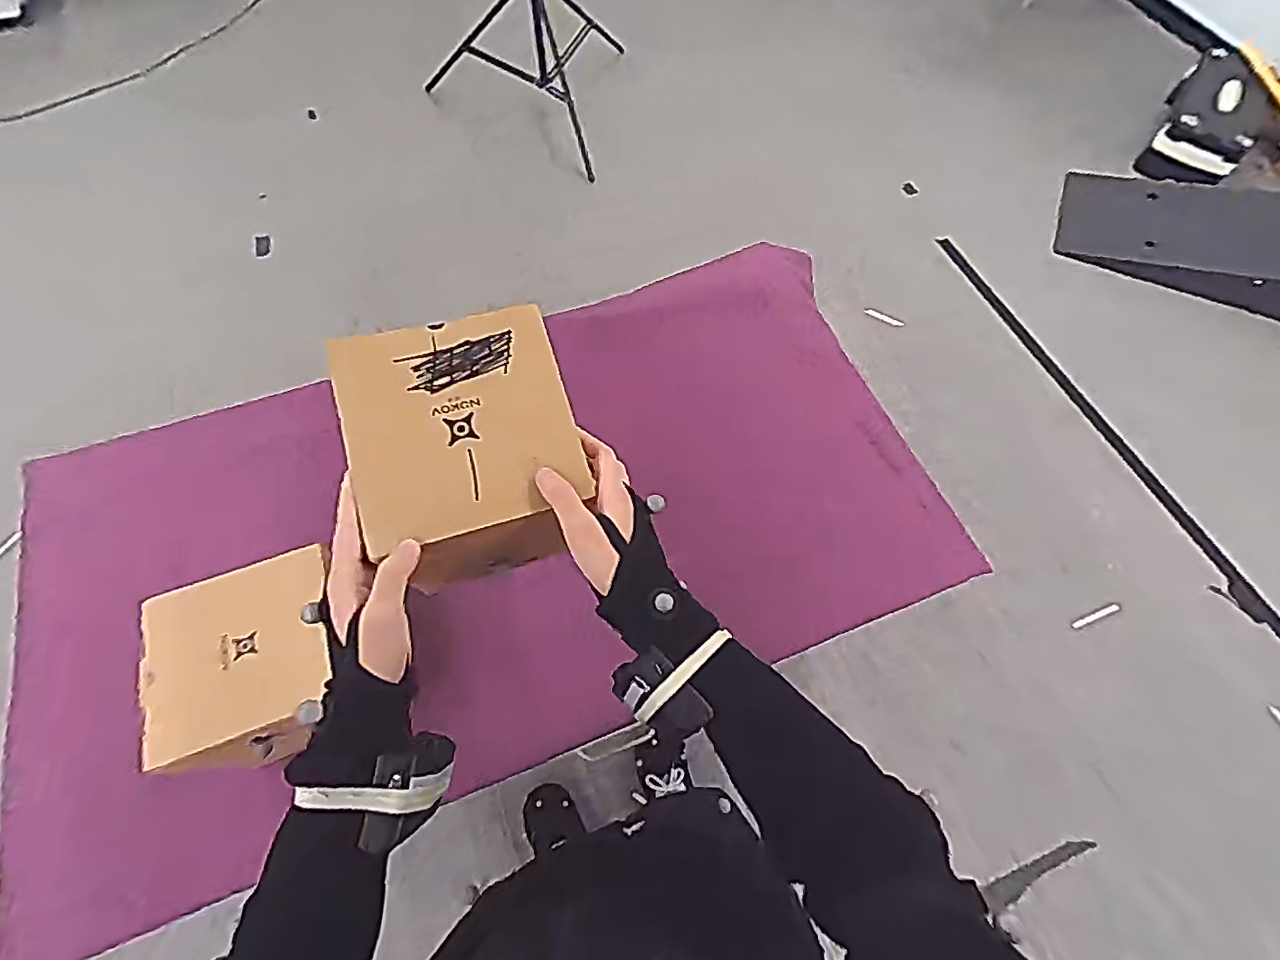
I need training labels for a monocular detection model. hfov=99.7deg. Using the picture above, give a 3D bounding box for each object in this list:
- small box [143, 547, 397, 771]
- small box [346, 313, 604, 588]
[{"bbox_3d":[-0.391,0.198,0.601,0.179,0.176,0.168,-20,67,-10],"label":"small box"},{"bbox_3d":[-0.139,-0.018,0.490,0.168,0.176,0.179,-15,73,-12],"label":"small box"}]
